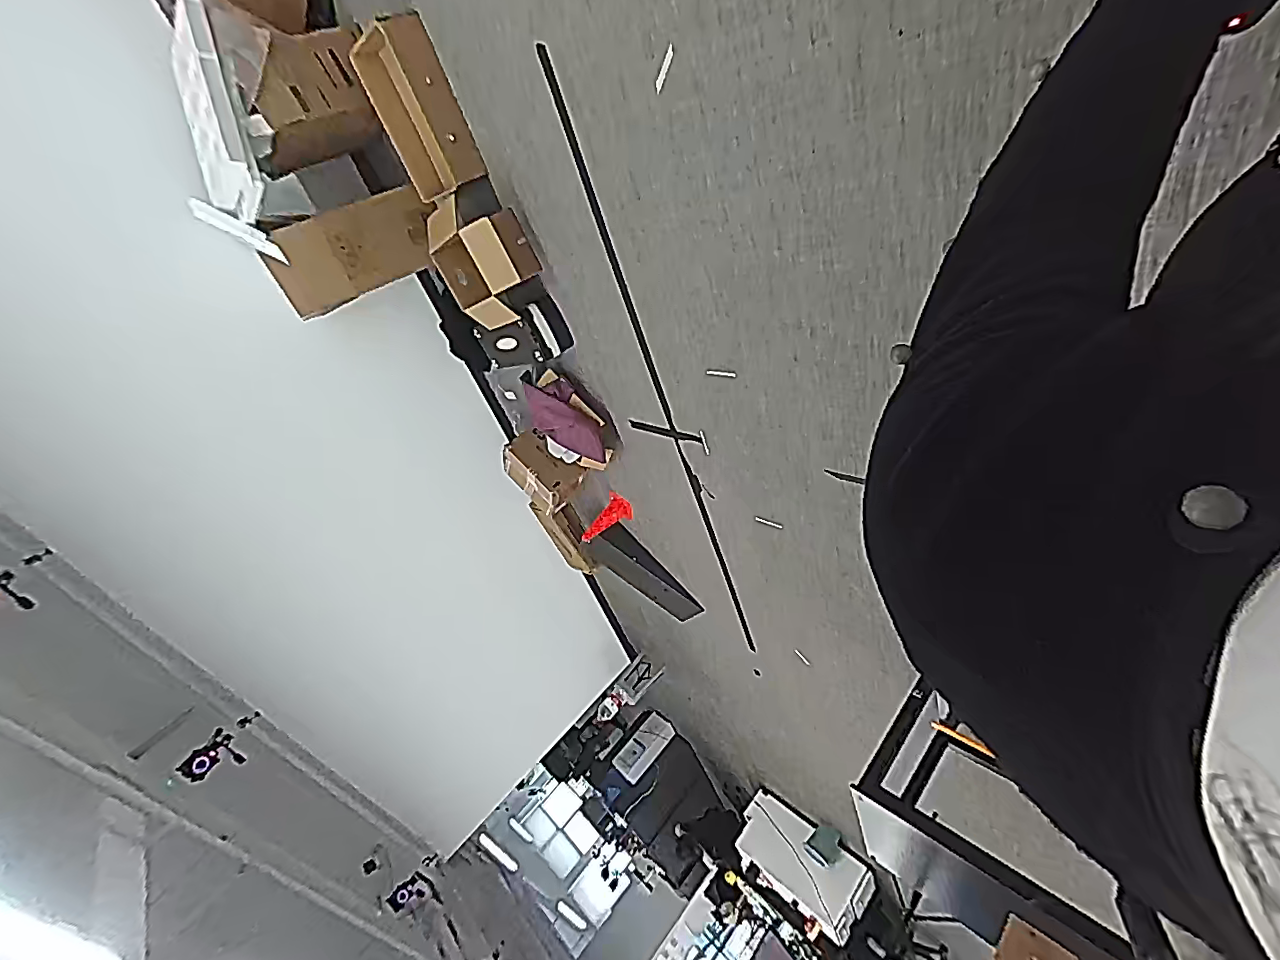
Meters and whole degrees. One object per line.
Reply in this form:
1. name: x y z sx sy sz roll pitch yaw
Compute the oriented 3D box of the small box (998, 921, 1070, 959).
1. small box: 1.147 1.439 1.568 0.168 0.176 0.179 16 138 47
